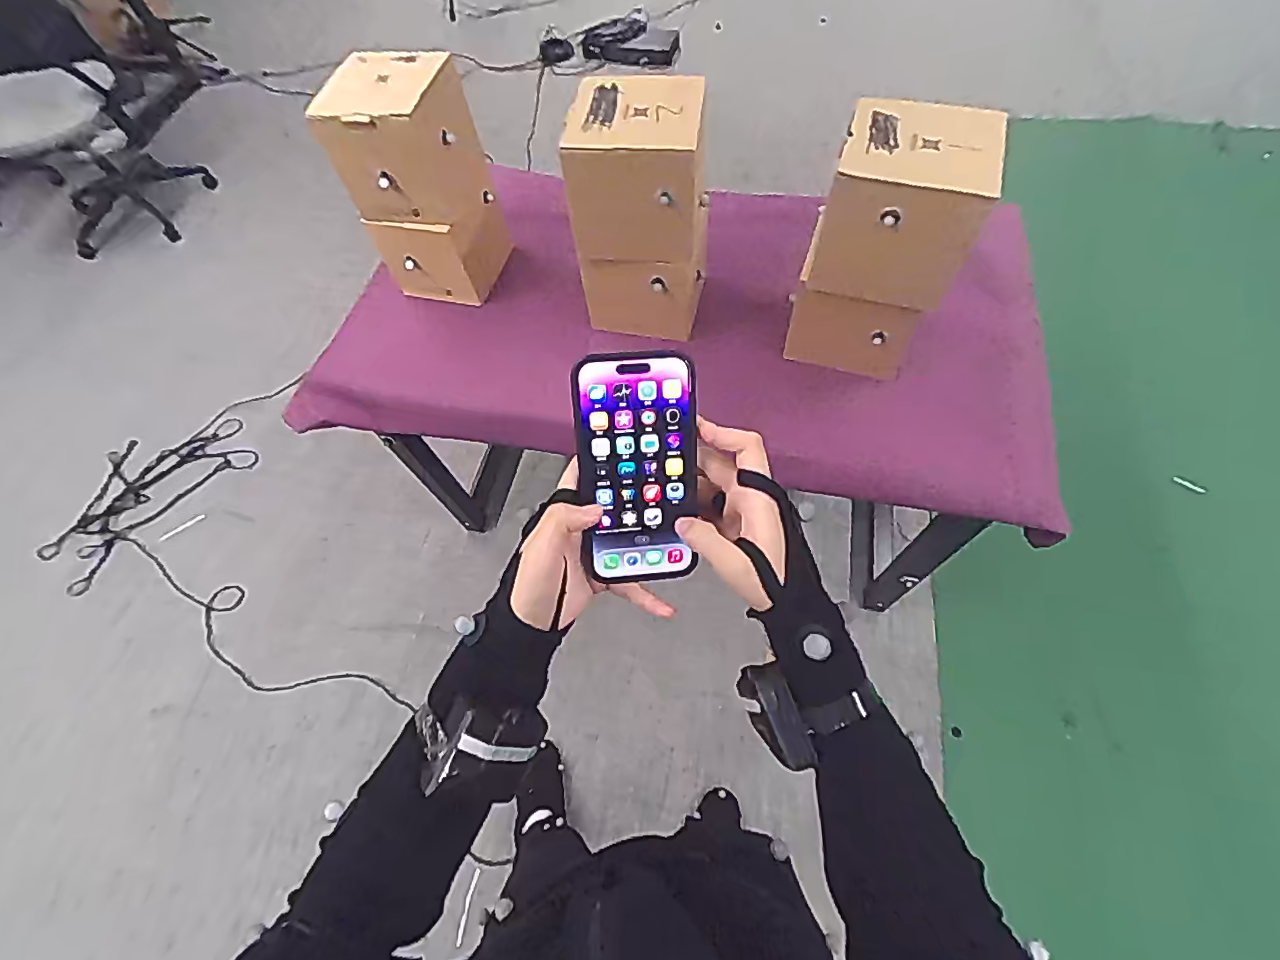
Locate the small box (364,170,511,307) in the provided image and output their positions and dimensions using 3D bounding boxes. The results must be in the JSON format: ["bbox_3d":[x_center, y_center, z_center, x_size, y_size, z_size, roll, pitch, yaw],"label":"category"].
[{"bbox_3d":[-0.359,-0.445,0.998,0.168,0.176,0.179,11,63,11],"label":"small box"}]

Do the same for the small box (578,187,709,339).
[{"bbox_3d":[0.014,-0.361,0.914,0.179,0.176,0.168,10,63,11],"label":"small box"}]

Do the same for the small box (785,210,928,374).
[{"bbox_3d":[0.340,-0.289,0.845,0.179,0.176,0.168,16,64,14],"label":"small box"}]

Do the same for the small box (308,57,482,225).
[{"bbox_3d":[-0.371,-0.531,0.858,0.168,0.176,0.179,6,63,8],"label":"small box"}]

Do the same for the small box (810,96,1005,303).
[{"bbox_3d":[0.330,-0.353,0.693,0.179,0.176,0.168,16,64,13],"label":"small box"}]
